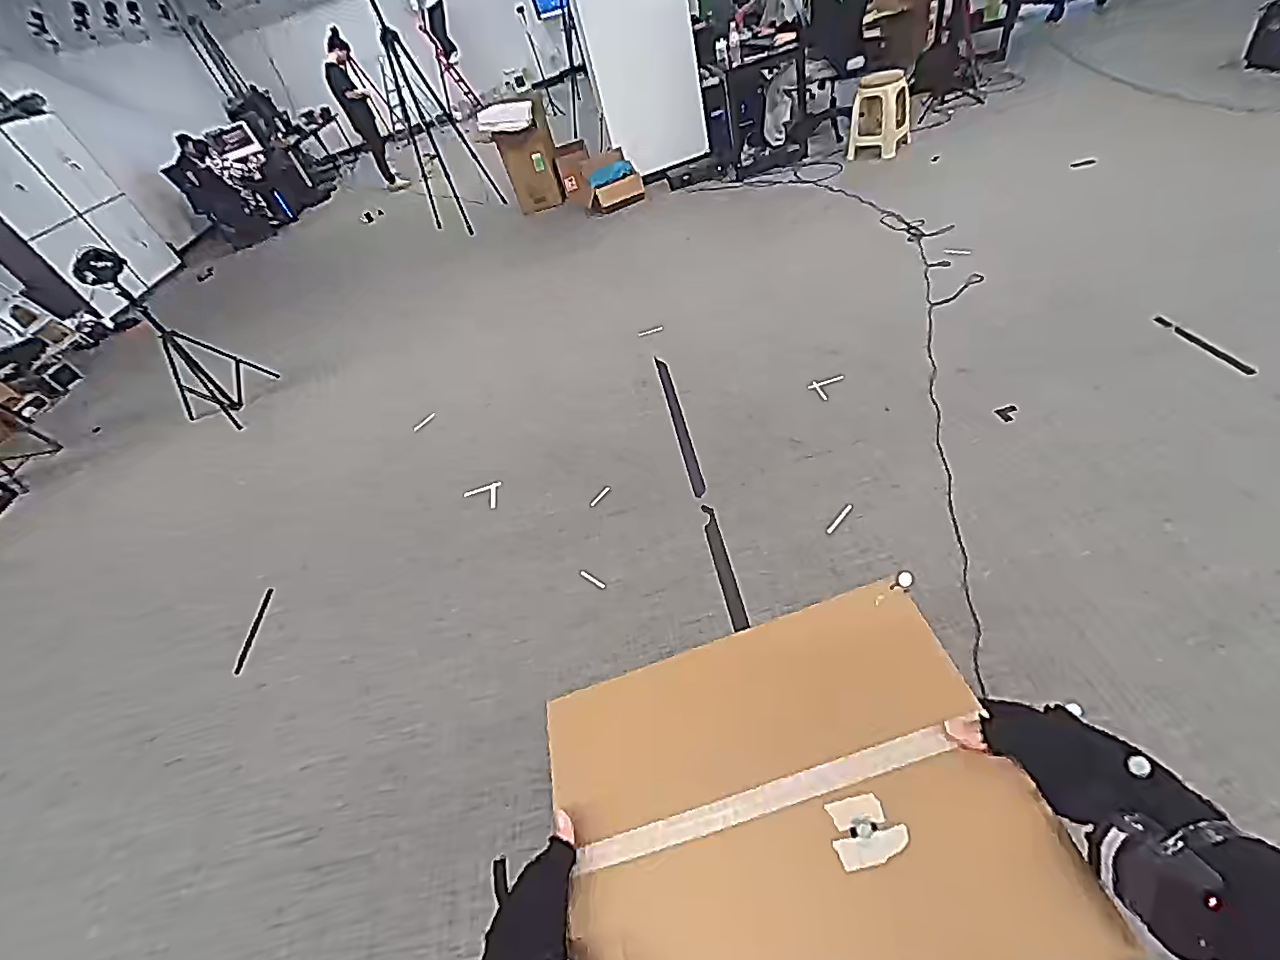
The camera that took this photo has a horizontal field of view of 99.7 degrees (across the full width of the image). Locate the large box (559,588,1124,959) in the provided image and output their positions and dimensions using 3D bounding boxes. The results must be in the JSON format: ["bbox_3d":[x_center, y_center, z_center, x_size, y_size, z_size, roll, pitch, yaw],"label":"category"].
[{"bbox_3d":[0.167,0.388,0.596,0.408,0.320,0.320,-21,46,4],"label":"large box"}]
